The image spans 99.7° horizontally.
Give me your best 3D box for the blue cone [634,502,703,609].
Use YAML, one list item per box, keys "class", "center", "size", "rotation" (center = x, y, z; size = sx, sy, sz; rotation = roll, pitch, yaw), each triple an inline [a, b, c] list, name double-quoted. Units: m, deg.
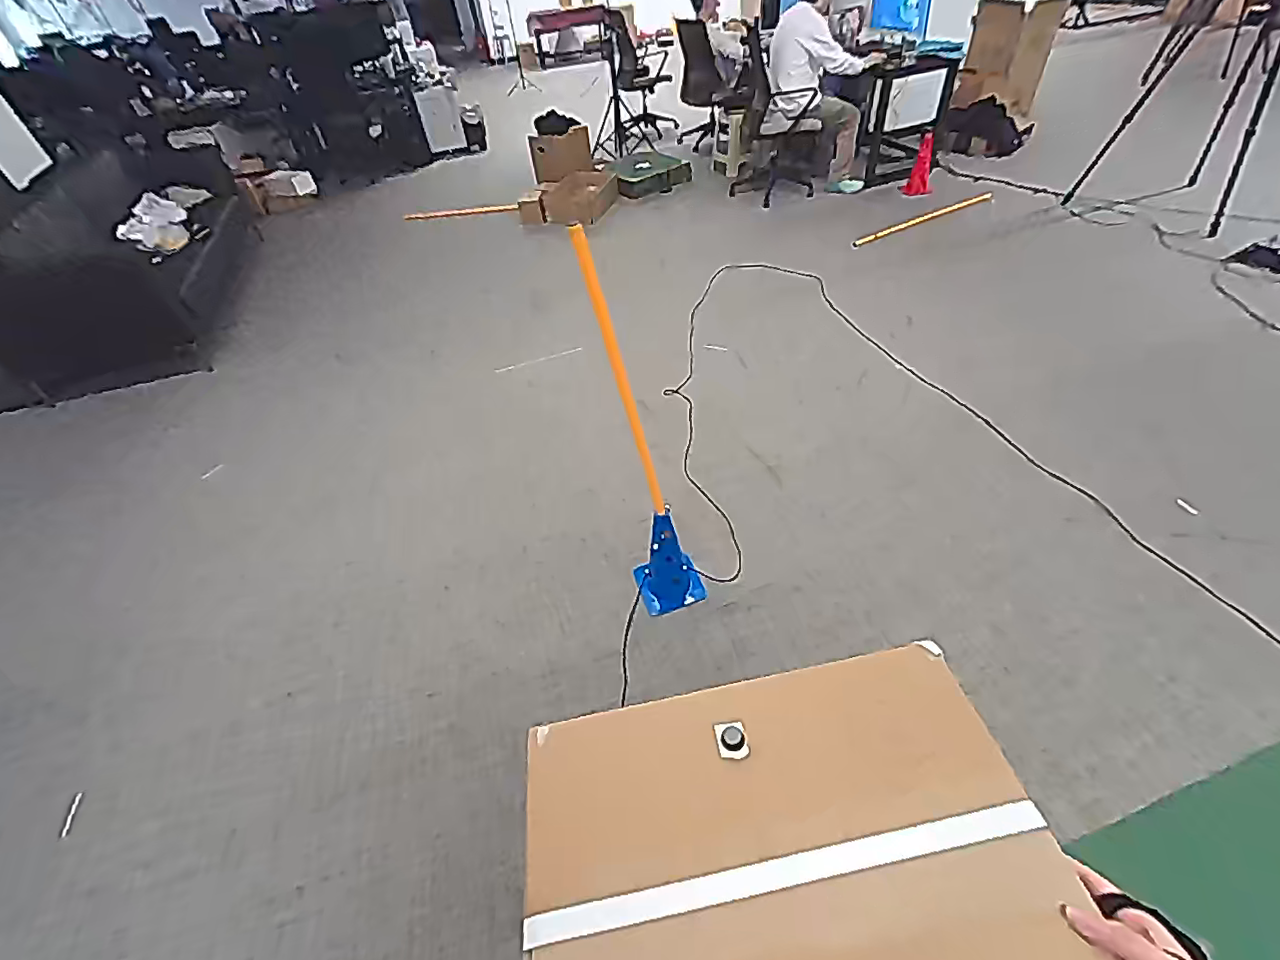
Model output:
- class: "blue cone"
  center: [0.073, 0.209, 1.648]
  size: [0.193, 0.380, 0.192]
  rotation: [-20, 46, -10]
